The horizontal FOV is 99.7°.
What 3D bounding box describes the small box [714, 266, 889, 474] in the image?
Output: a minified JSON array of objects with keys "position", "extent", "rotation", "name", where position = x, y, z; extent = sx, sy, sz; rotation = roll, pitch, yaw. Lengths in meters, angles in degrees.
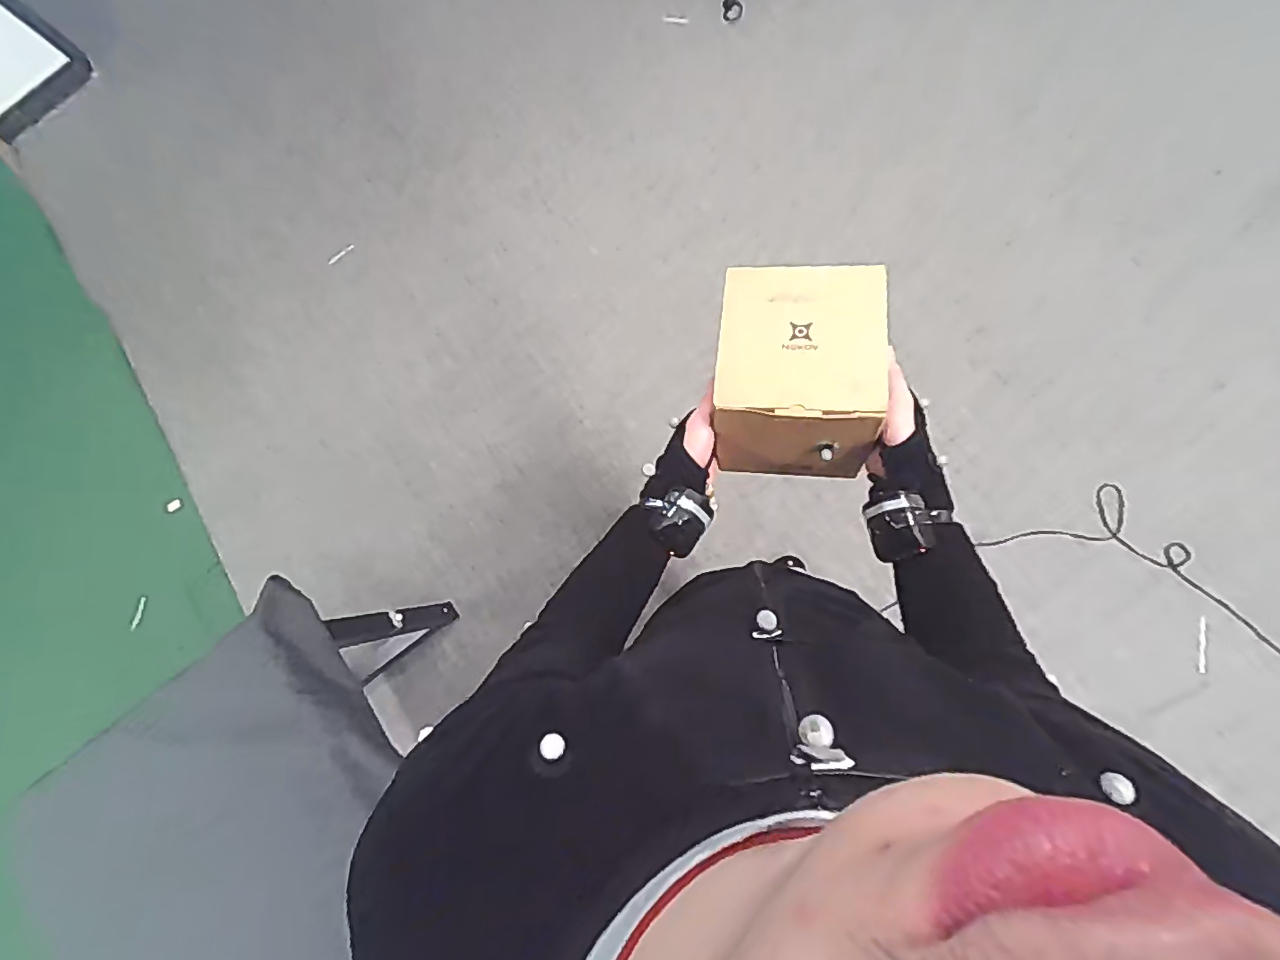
[{"position":[0.176,-0.117,0.618],"extent":[0.168,0.176,0.179],"rotation":[4,68,10],"name":"small box"}]
